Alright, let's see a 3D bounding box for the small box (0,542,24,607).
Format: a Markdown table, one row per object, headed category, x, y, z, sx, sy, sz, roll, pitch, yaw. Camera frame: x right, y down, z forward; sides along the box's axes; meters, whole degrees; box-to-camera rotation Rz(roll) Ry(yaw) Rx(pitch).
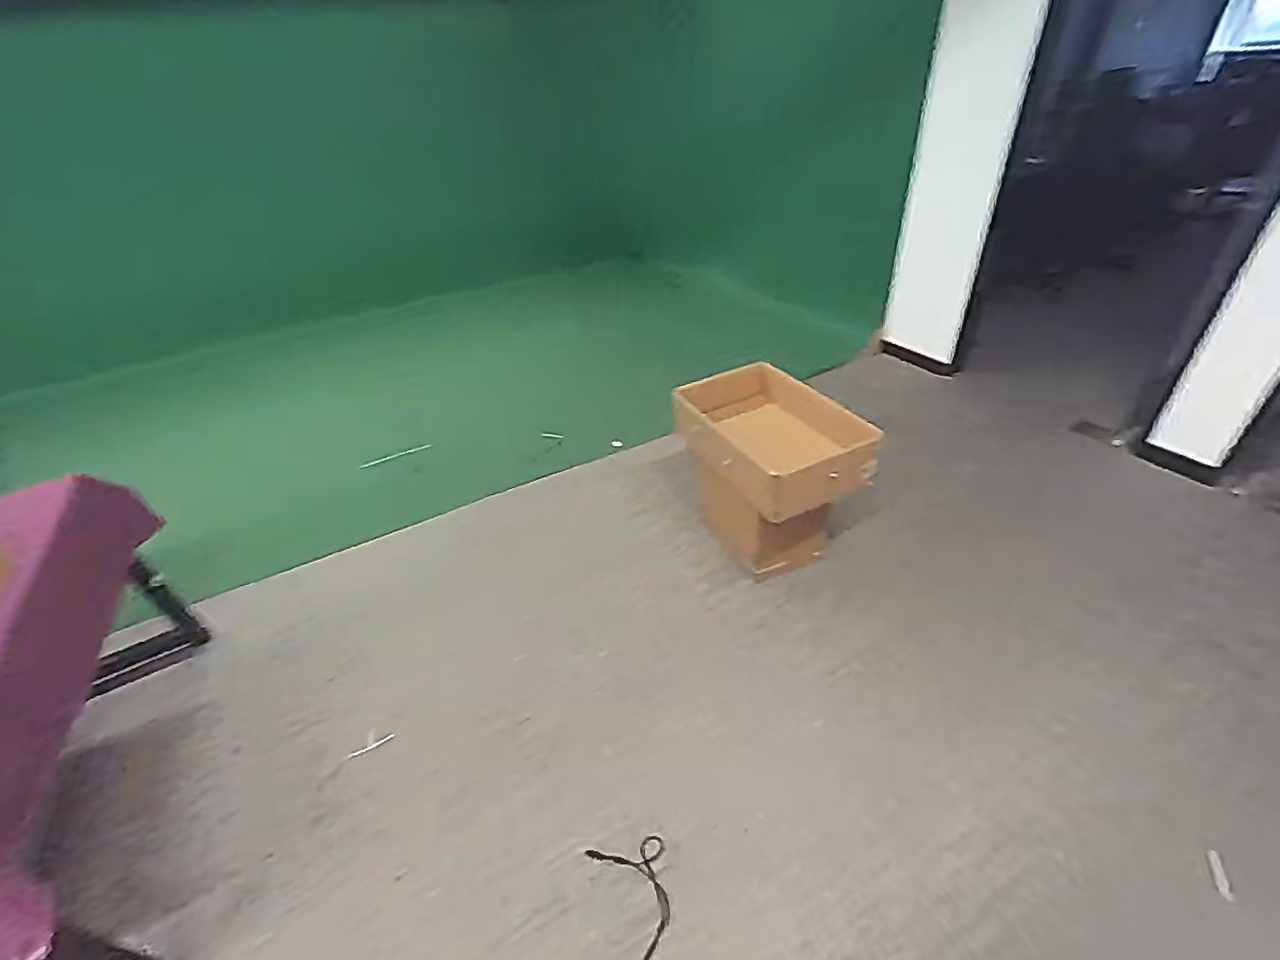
| category | x | y | z | sx | sy | sz | roll | pitch | yaw |
| --- | --- | --- | --- | --- | --- | --- | --- | --- | --- |
| small box | -1.521 | 0.208 | 1.177 | 0.168 | 0.176 | 0.179 | -24 | 41 | -21 |
